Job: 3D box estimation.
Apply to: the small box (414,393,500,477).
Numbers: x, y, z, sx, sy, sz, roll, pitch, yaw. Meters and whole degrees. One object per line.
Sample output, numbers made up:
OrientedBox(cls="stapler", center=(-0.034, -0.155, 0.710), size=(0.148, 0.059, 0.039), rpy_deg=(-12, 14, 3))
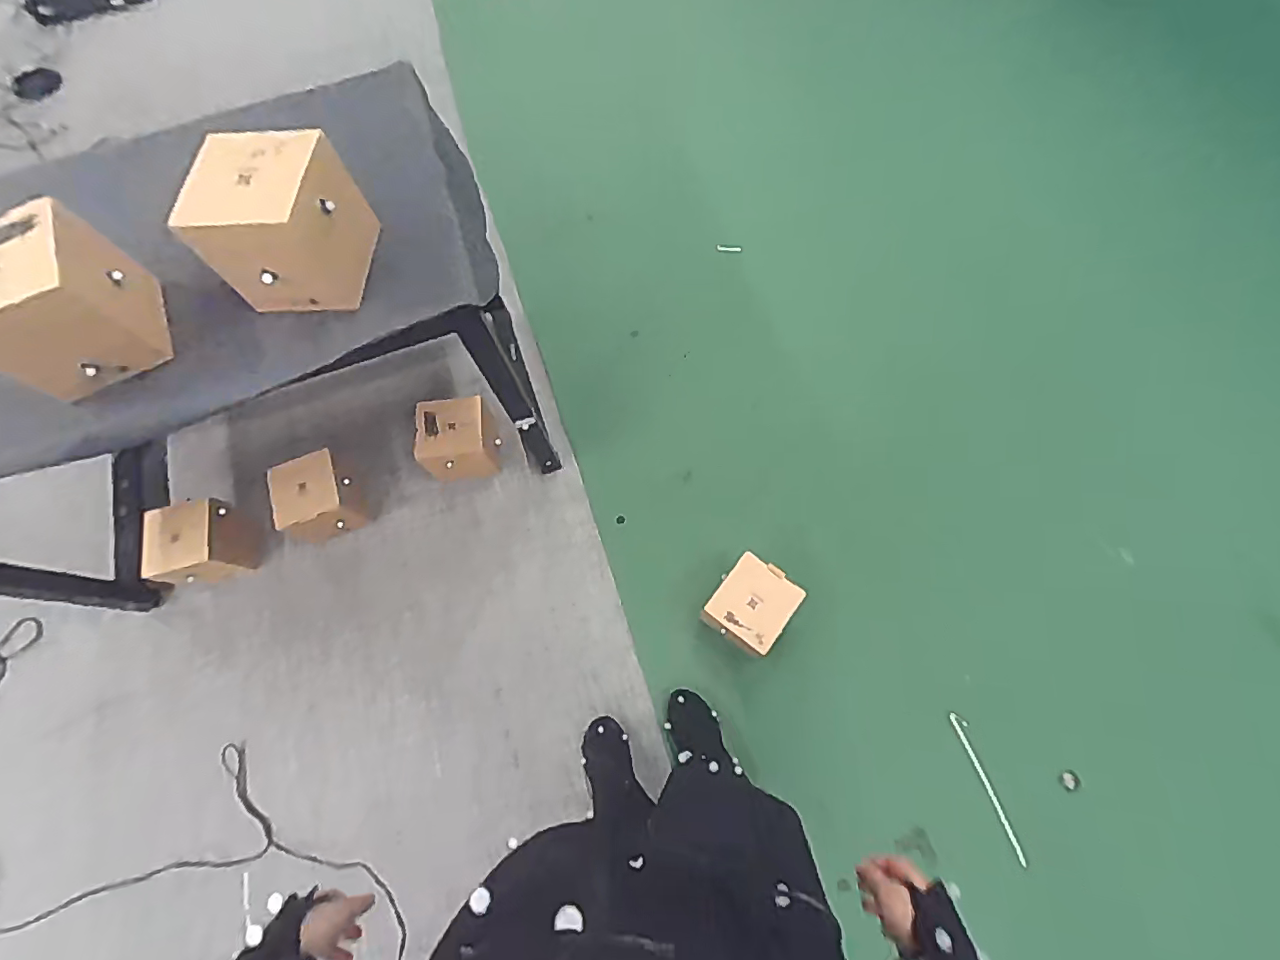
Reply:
OrientedBox(cls="small box", center=(-0.491, -0.117, 1.469), size=(0.179, 0.176, 0.168), rpy_deg=(-6, 70, -1))

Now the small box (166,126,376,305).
OrientedBox(cls="small box", center=(-0.513, -0.372, 0.784), size=(0.168, 0.176, 0.179), rpy_deg=(1, 68, 3))

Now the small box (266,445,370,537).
OrientedBox(cls="small box", center=(-0.844, 0.039, 1.432), size=(0.168, 0.176, 0.179), rpy_deg=(-21, 70, -5))

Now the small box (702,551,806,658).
OrientedBox(cls="small box", center=(0.260, 0.300, 1.283), size=(0.168, 0.176, 0.179), rpy_deg=(37, 75, 14))

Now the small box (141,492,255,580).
OrientedBox(cls="small box", center=(-1.140, 0.154, 1.408), size=(0.168, 0.176, 0.179), rpy_deg=(-15, 70, -2))
